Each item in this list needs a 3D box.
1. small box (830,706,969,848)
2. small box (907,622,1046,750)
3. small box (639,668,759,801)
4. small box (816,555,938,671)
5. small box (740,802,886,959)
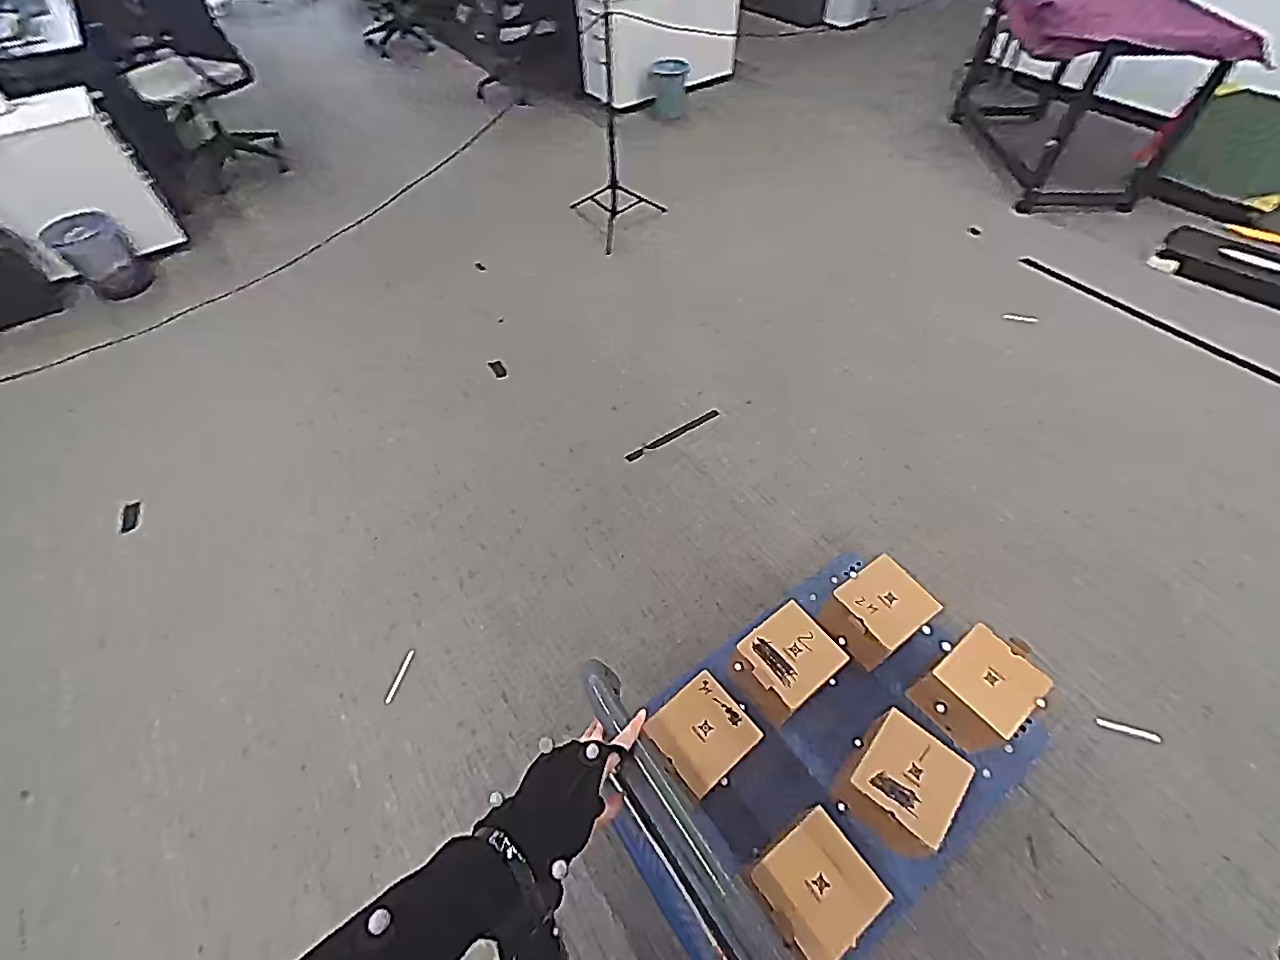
[{"bbox_3d":[0.496,0.587,1.063,0.168,0.176,0.179,36,61,24],"label":"small box"},{"bbox_3d":[0.707,0.447,1.163,0.179,0.176,0.168,-33,60,-21],"label":"small box"},{"bbox_3d":[0.117,0.526,1.111,0.179,0.176,0.168,-34,61,-21],"label":"small box"},{"bbox_3d":[0.542,0.312,1.262,0.179,0.176,0.168,-29,58,-18],"label":"small box"},{"bbox_3d":[0.295,0.719,0.970,0.179,0.176,0.168,-30,59,-20],"label":"small box"}]
